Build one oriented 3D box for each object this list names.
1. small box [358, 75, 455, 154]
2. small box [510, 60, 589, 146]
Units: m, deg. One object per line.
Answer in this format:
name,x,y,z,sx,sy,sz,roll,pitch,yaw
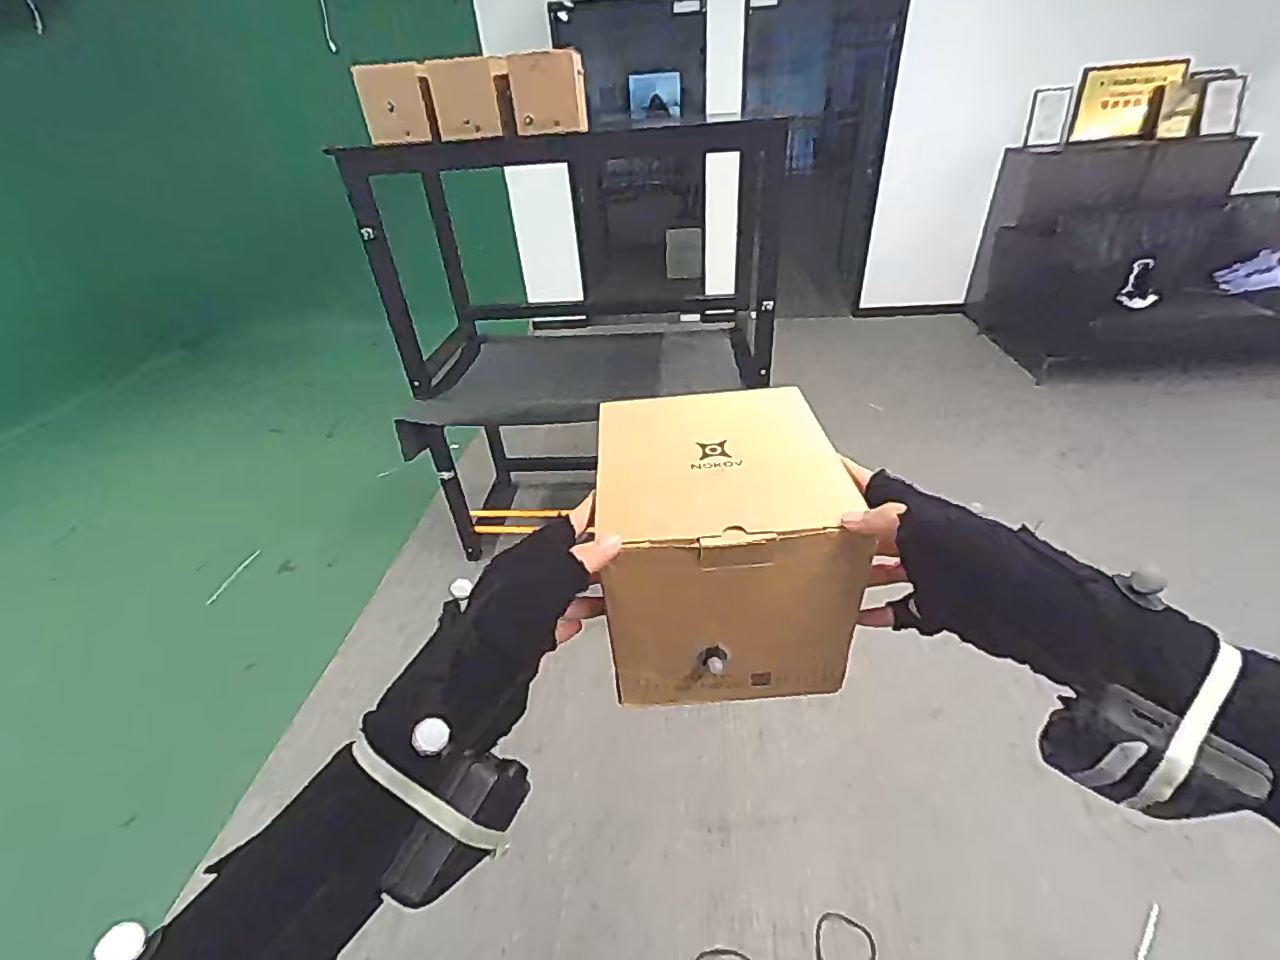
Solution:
small box,-0.624,-0.992,1.474,0.168,0.176,0.179,0,34,4
small box,-0.229,-0.986,1.424,0.168,0.176,0.179,-2,34,3
